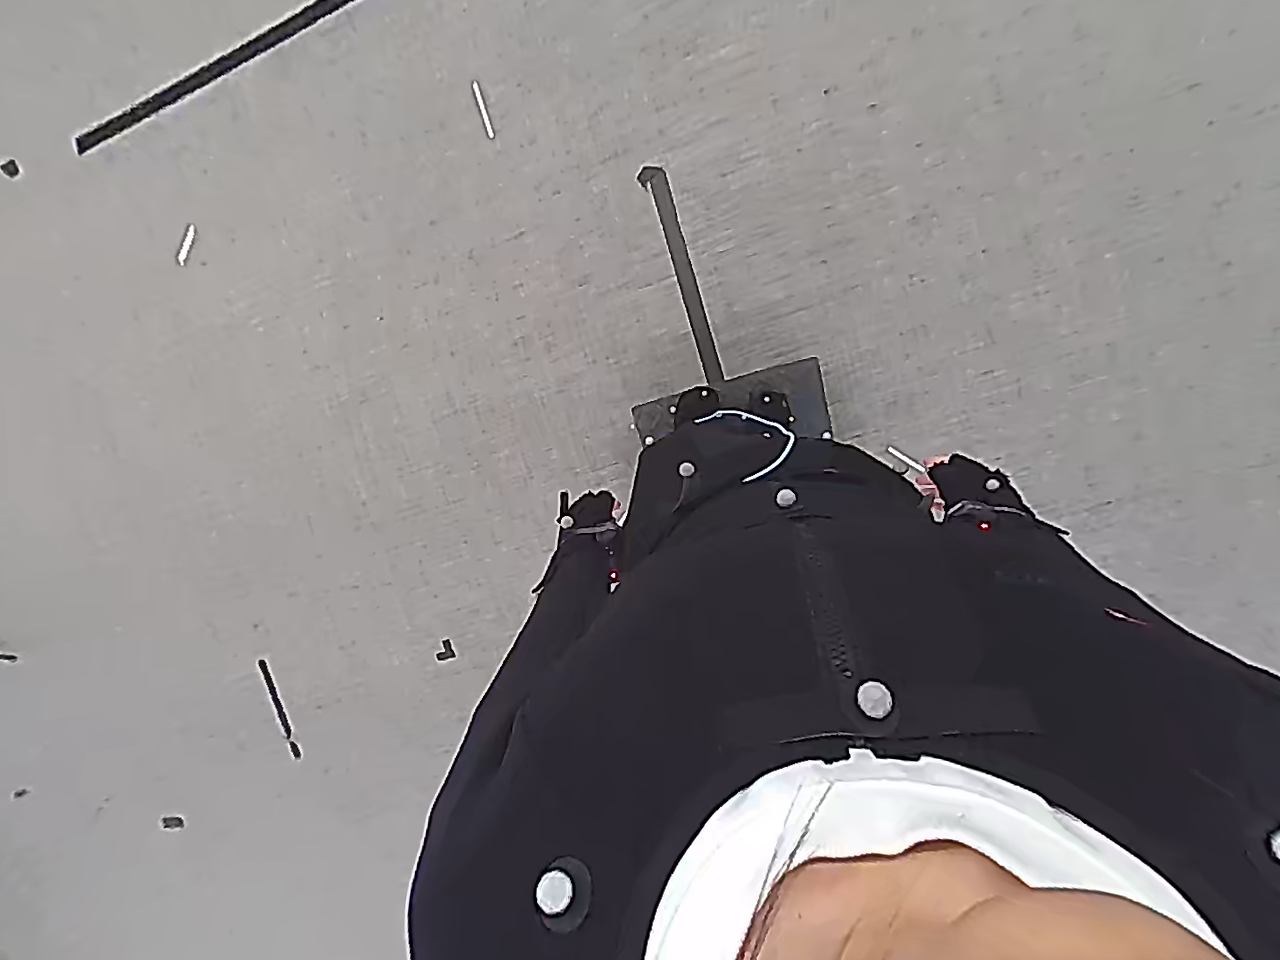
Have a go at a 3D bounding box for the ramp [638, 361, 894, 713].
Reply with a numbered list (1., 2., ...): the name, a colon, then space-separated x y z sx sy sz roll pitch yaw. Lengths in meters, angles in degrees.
1. ramp: 0.379 0.215 1.529 0.509 0.206 0.991 -18 95 10
